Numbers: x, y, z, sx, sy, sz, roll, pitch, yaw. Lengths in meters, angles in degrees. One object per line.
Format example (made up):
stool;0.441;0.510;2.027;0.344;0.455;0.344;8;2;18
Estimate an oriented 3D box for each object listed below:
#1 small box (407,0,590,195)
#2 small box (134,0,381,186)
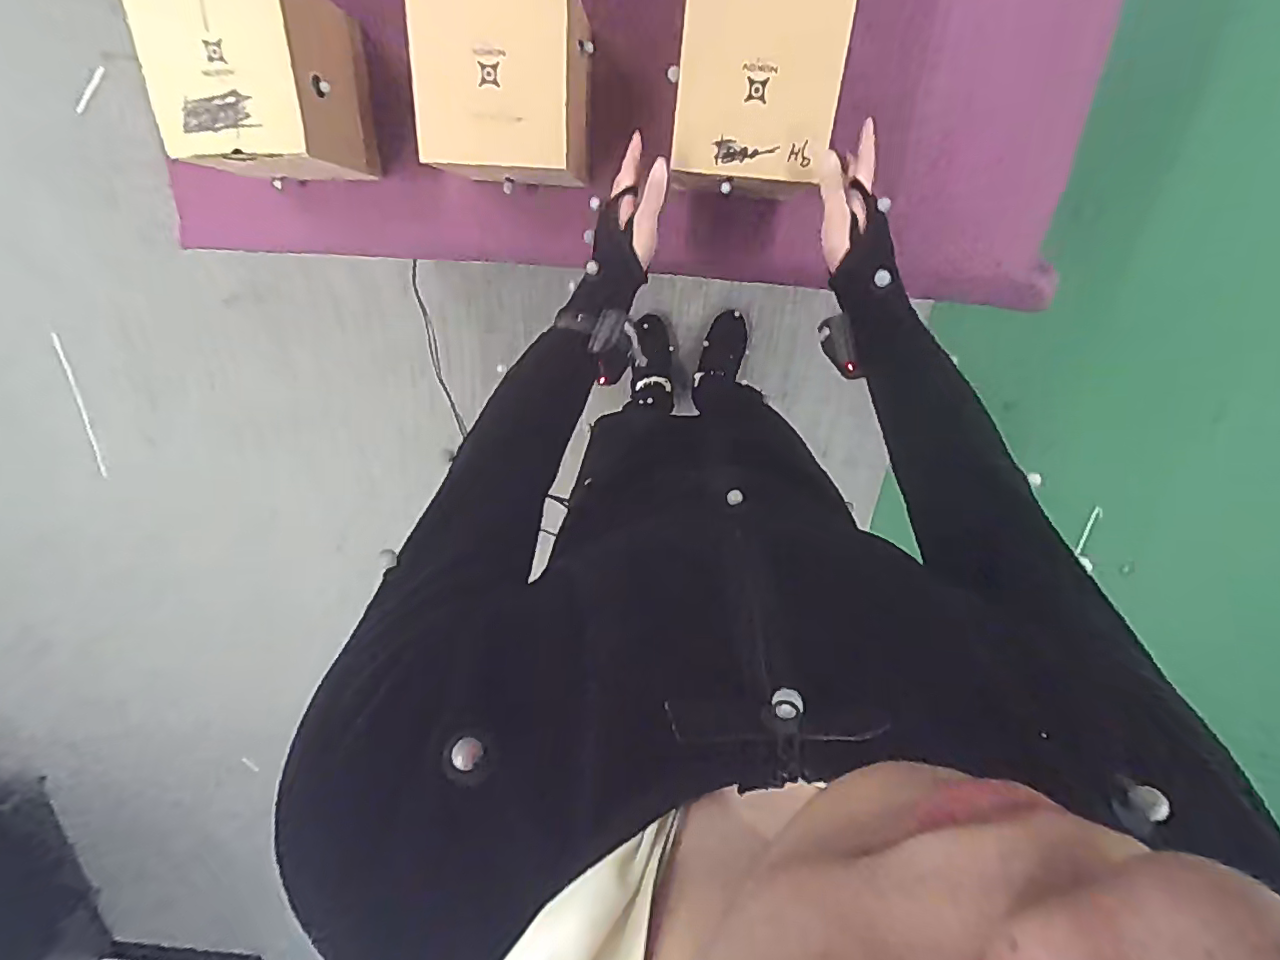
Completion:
small box;-0.155;-0.452;0.644;0.168;0.176;0.179;5;113;3
small box;-0.441;-0.466;0.657;0.168;0.176;0.179;2;110;3
